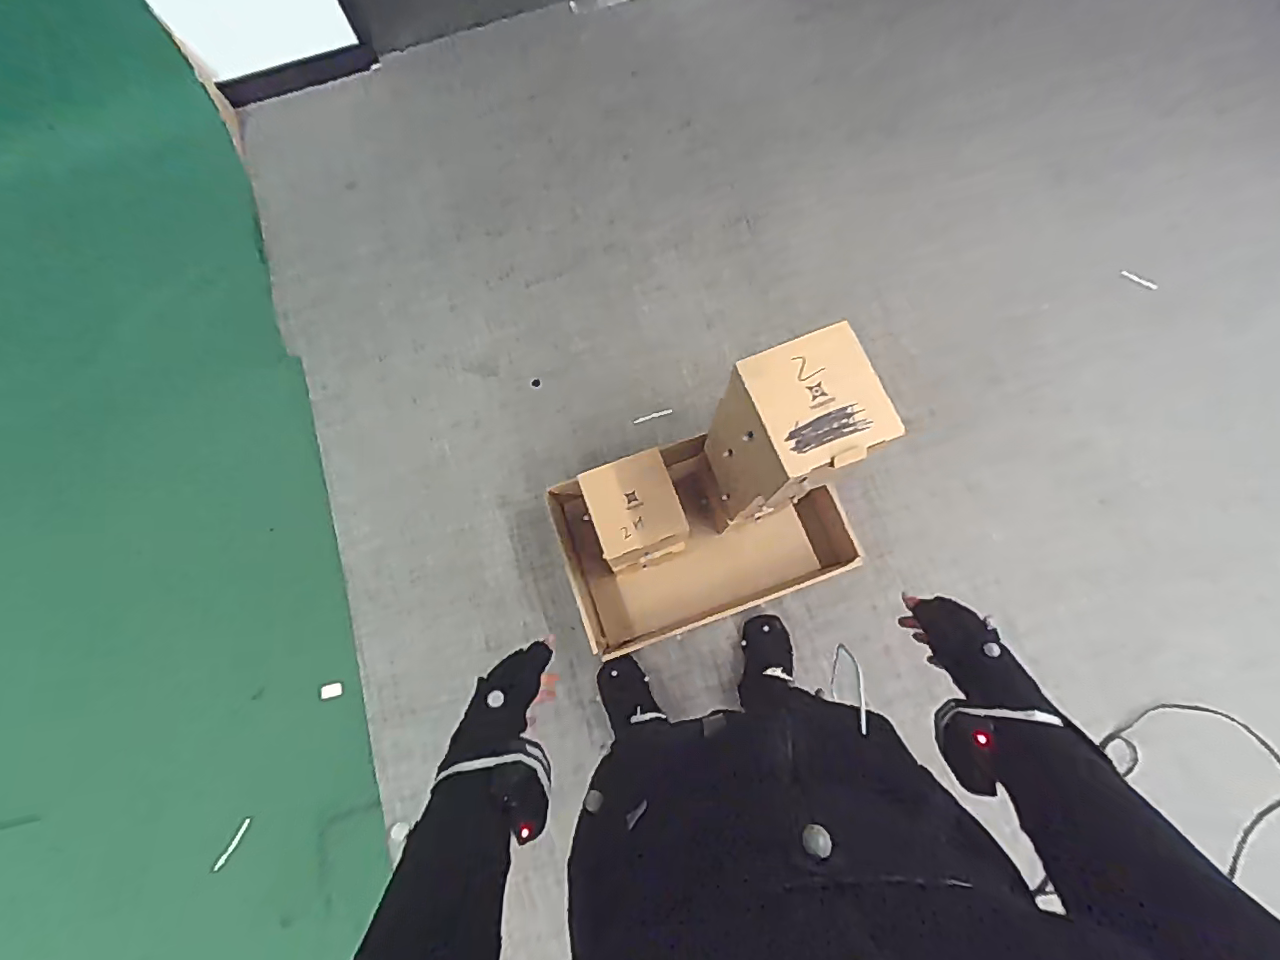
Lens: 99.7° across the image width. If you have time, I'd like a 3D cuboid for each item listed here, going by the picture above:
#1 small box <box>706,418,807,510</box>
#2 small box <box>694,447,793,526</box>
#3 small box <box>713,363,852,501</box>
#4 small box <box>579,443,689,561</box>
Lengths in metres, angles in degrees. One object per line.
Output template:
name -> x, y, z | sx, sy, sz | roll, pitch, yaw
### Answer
small box -> 0.240, -0.046, 1.087 | 0.168, 0.176, 0.179 | -19, 77, -2
small box -> 0.234, -0.001, 1.263 | 0.168, 0.176, 0.179 | -24, 77, -2
small box -> 0.236, -0.071, 0.942 | 0.168, 0.176, 0.179 | -18, 77, -3
small box -> -0.014, 0.051, 1.087 | 0.168, 0.176, 0.179 | -20, 77, -4
